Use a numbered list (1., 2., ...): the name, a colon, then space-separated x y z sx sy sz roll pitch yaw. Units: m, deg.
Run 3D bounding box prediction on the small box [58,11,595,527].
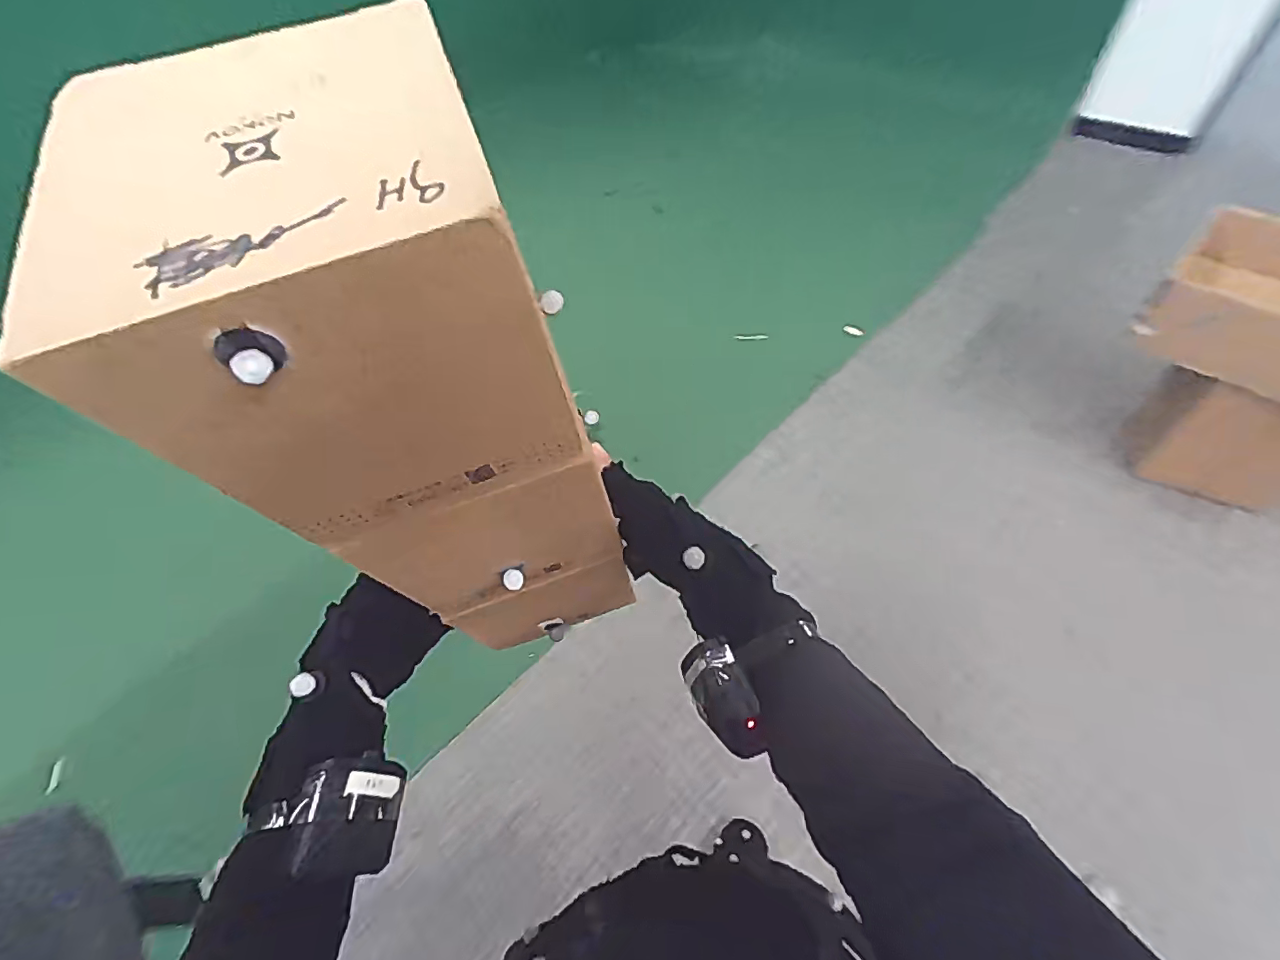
1. small box: -0.136 -0.101 0.296 0.168 0.176 0.179 -20 62 -3
